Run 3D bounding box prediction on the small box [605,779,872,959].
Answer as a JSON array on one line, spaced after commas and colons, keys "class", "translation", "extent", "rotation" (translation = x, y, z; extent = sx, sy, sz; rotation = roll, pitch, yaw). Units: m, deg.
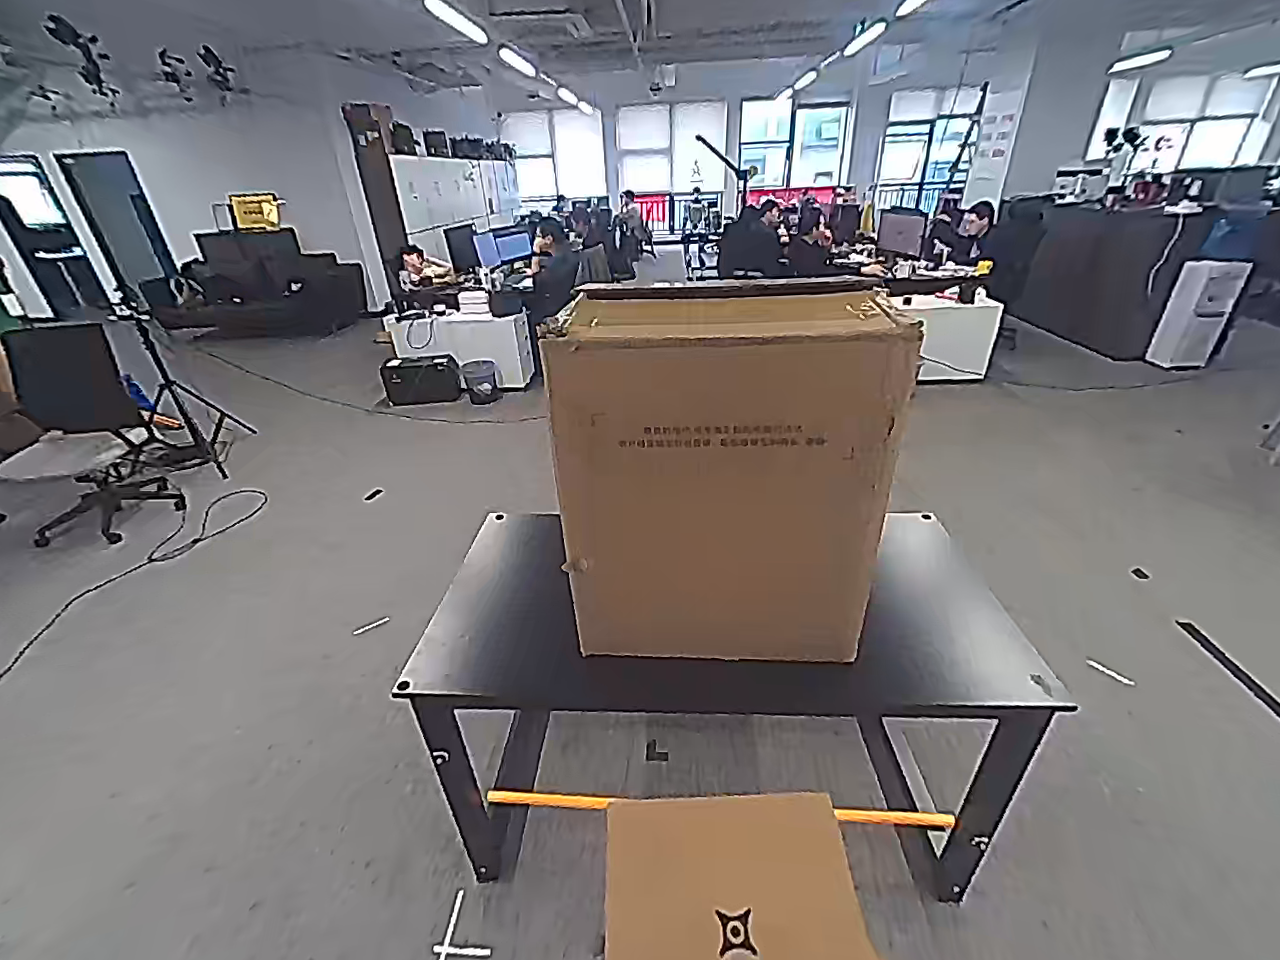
[{"class": "small box", "translation": [0.063, 0.344, 0.392], "extent": [0.168, 0.176, 0.179], "rotation": [-4, 41, 1]}]
